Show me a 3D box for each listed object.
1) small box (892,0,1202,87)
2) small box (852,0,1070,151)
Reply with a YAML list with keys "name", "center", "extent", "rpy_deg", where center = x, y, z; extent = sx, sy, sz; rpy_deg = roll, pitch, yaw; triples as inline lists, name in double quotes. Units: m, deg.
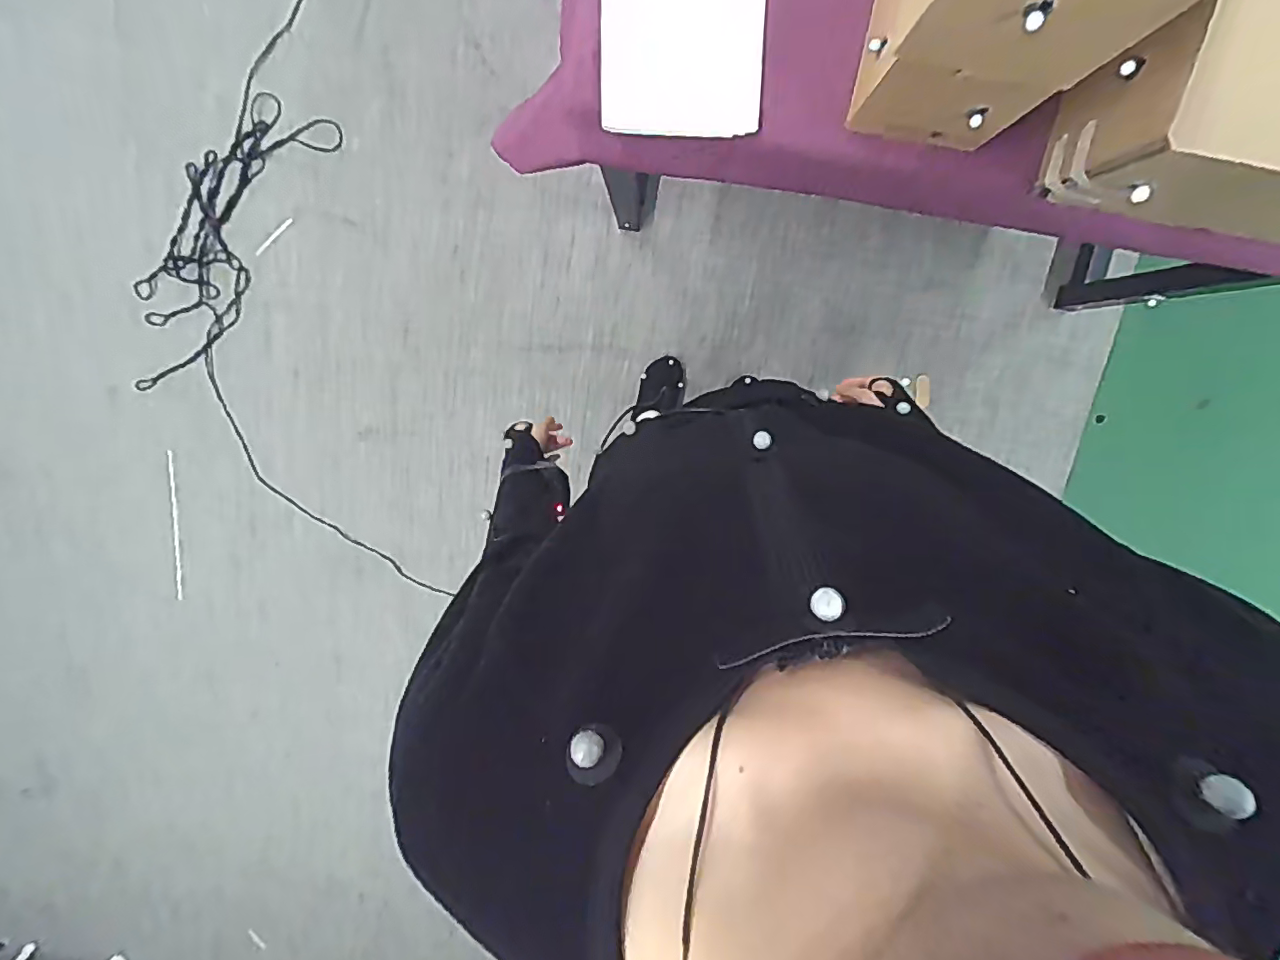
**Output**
- name: "small box"
  center: [0.333, -0.446, 0.421]
  extent: [0.179, 0.176, 0.168]
  rpy_deg: [11, 101, 0]
- name: "small box"
  center: [0.348, -0.486, 0.579]
  extent: [0.168, 0.176, 0.179]
  rpy_deg: [11, 100, 0]
